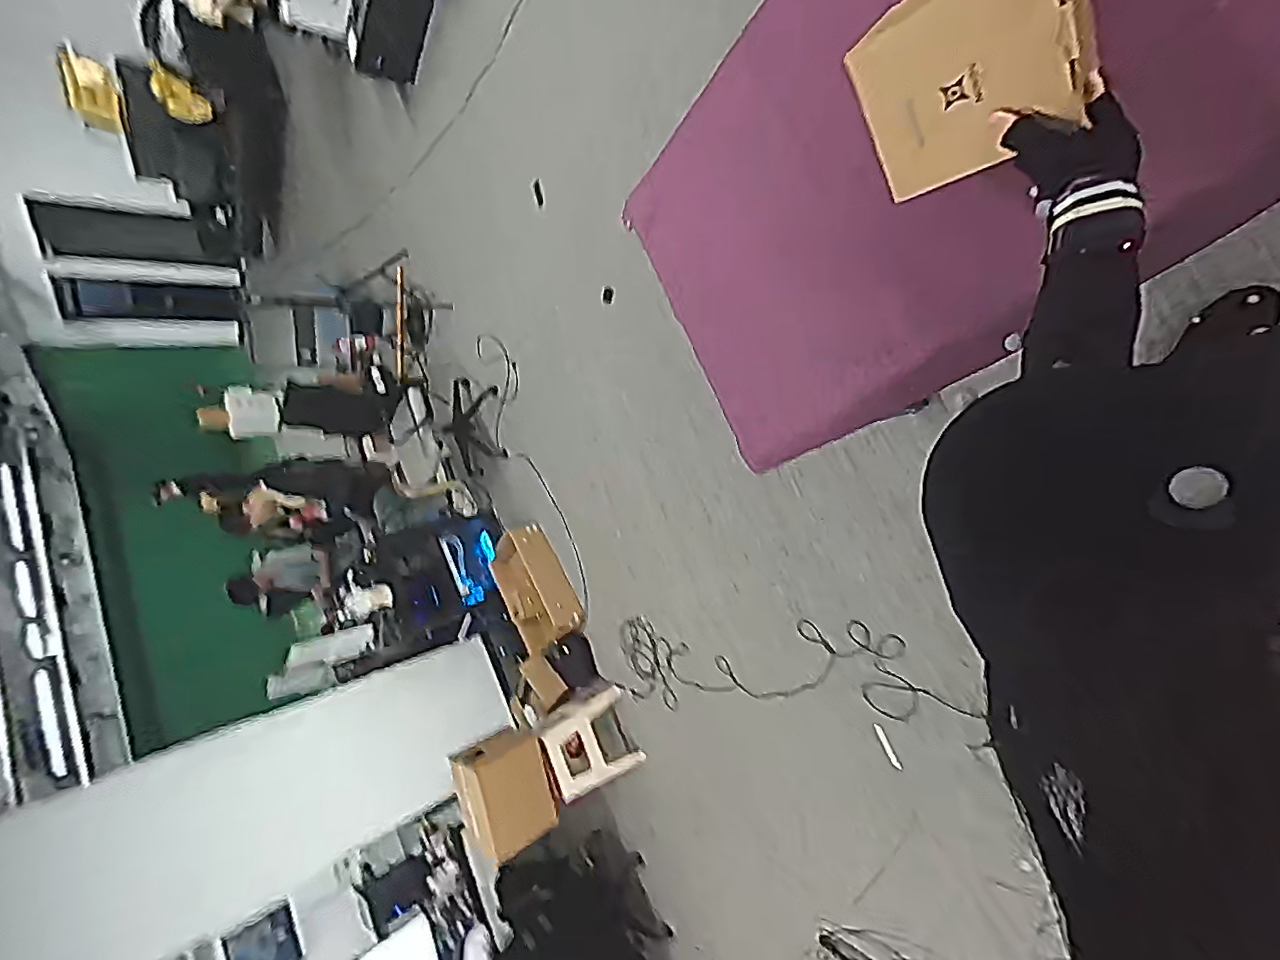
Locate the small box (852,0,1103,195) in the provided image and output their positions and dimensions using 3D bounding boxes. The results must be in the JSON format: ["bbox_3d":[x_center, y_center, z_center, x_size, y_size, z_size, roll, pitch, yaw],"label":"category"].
[{"bbox_3d":[0.360,-0.449,0.569,0.179,0.176,0.168,-4,131,51],"label":"small box"}]
